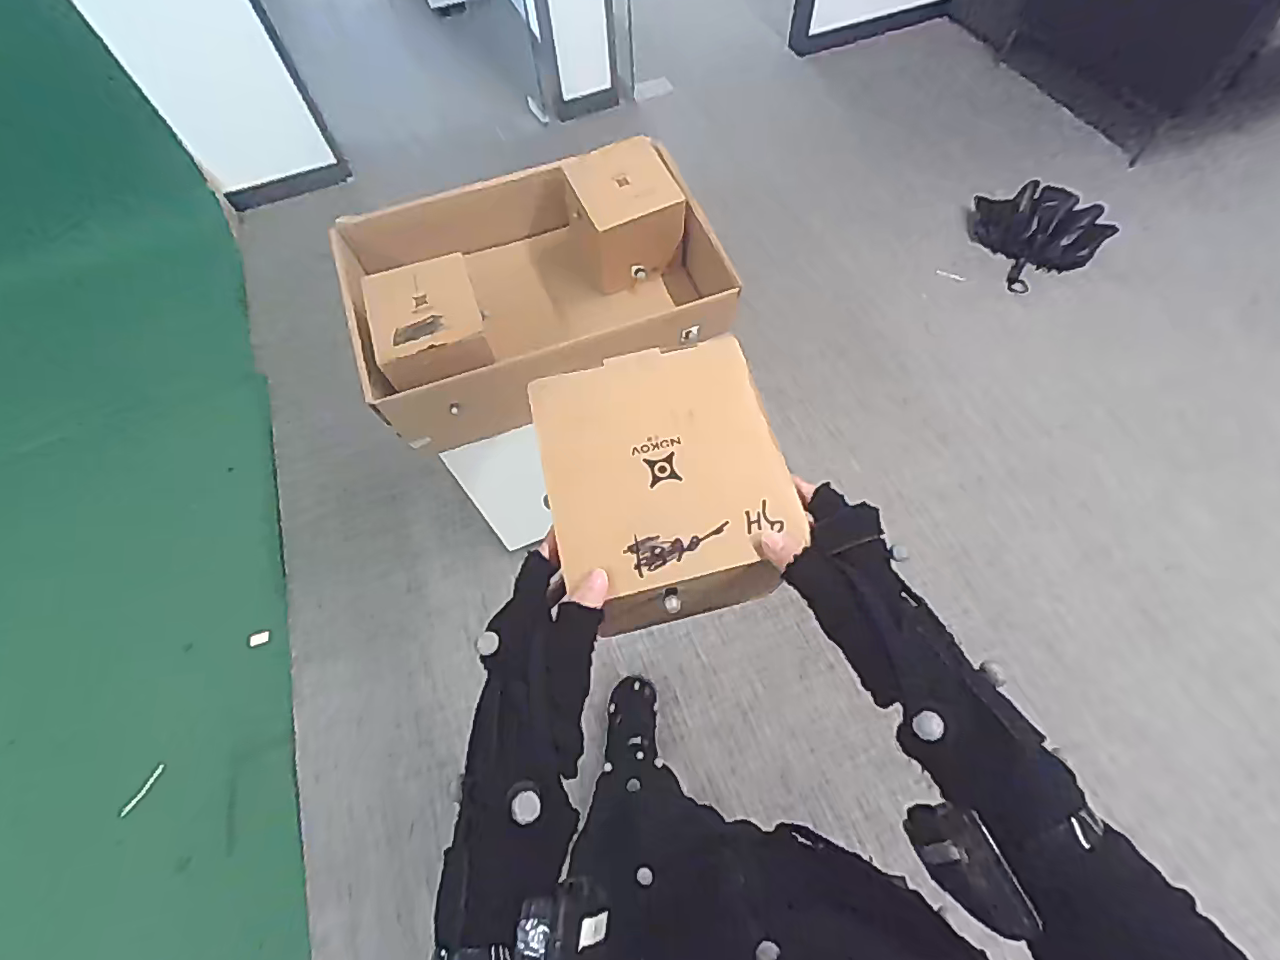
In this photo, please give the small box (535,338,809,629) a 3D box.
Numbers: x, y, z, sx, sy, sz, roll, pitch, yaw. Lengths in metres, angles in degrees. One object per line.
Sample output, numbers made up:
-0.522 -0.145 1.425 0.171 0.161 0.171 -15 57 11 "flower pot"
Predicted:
0.019 0.014 0.460 0.168 0.176 0.179 -14 68 -2 "small box"
